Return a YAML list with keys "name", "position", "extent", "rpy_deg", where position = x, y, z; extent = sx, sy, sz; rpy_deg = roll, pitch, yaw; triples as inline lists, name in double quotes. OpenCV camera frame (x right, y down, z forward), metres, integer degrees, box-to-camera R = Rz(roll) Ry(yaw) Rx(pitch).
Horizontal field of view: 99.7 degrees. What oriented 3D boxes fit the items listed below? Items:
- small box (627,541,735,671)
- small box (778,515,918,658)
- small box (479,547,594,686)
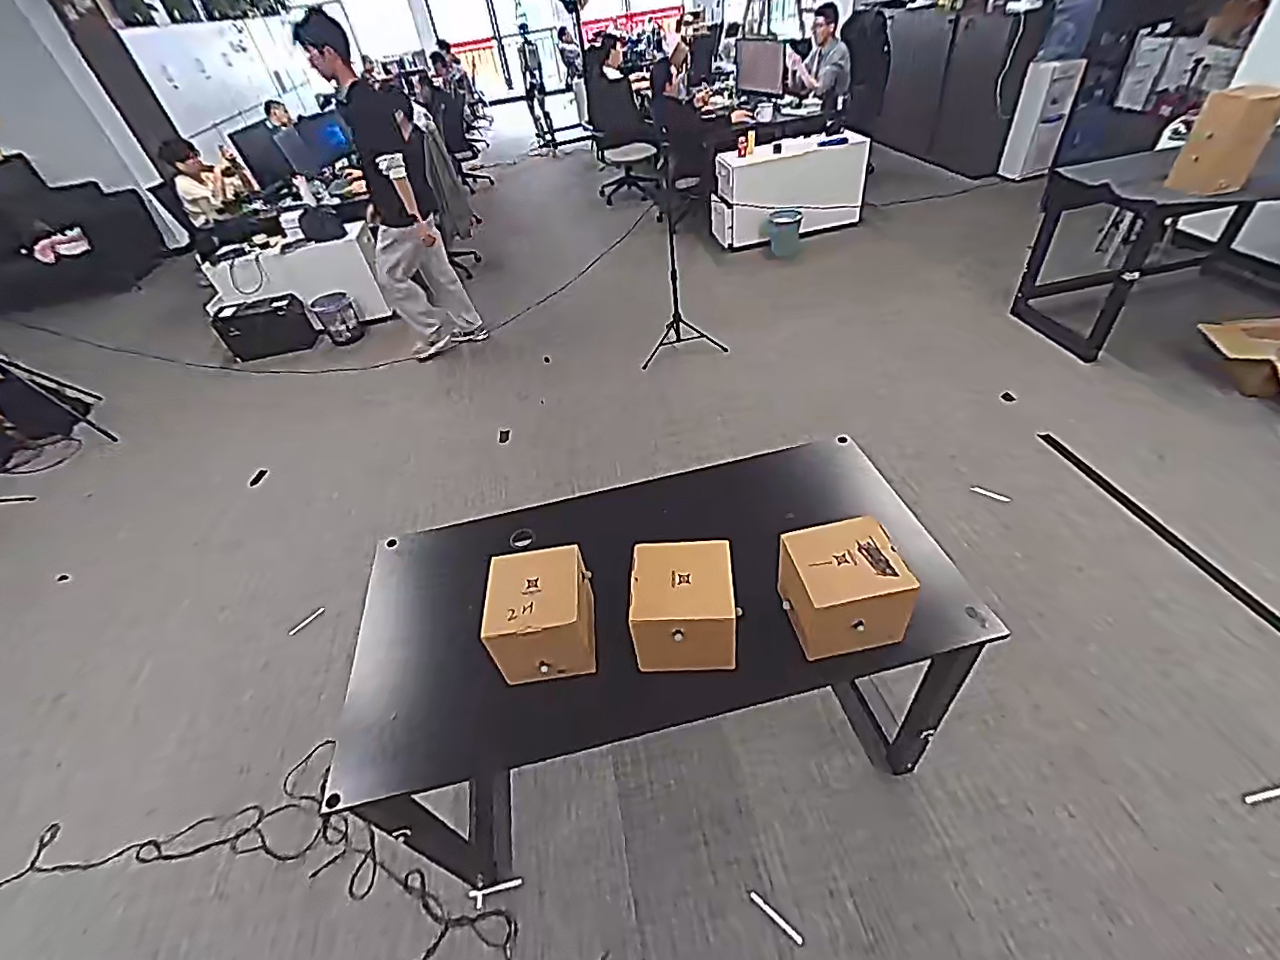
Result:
- name: "small box"
  position: [0.078, 0.231, 0.980]
  extent: [0.179, 0.176, 0.168]
  rpy_deg: [-5, 42, 7]
- name: "small box"
  position: [0.356, 0.191, 0.965]
  extent: [0.179, 0.176, 0.168]
  rpy_deg: [-13, 42, -1]
- name: "small box"
  position: [-0.183, 0.253, 1.004]
  extent: [0.168, 0.176, 0.179]
  rpy_deg: [-10, 43, 1]
